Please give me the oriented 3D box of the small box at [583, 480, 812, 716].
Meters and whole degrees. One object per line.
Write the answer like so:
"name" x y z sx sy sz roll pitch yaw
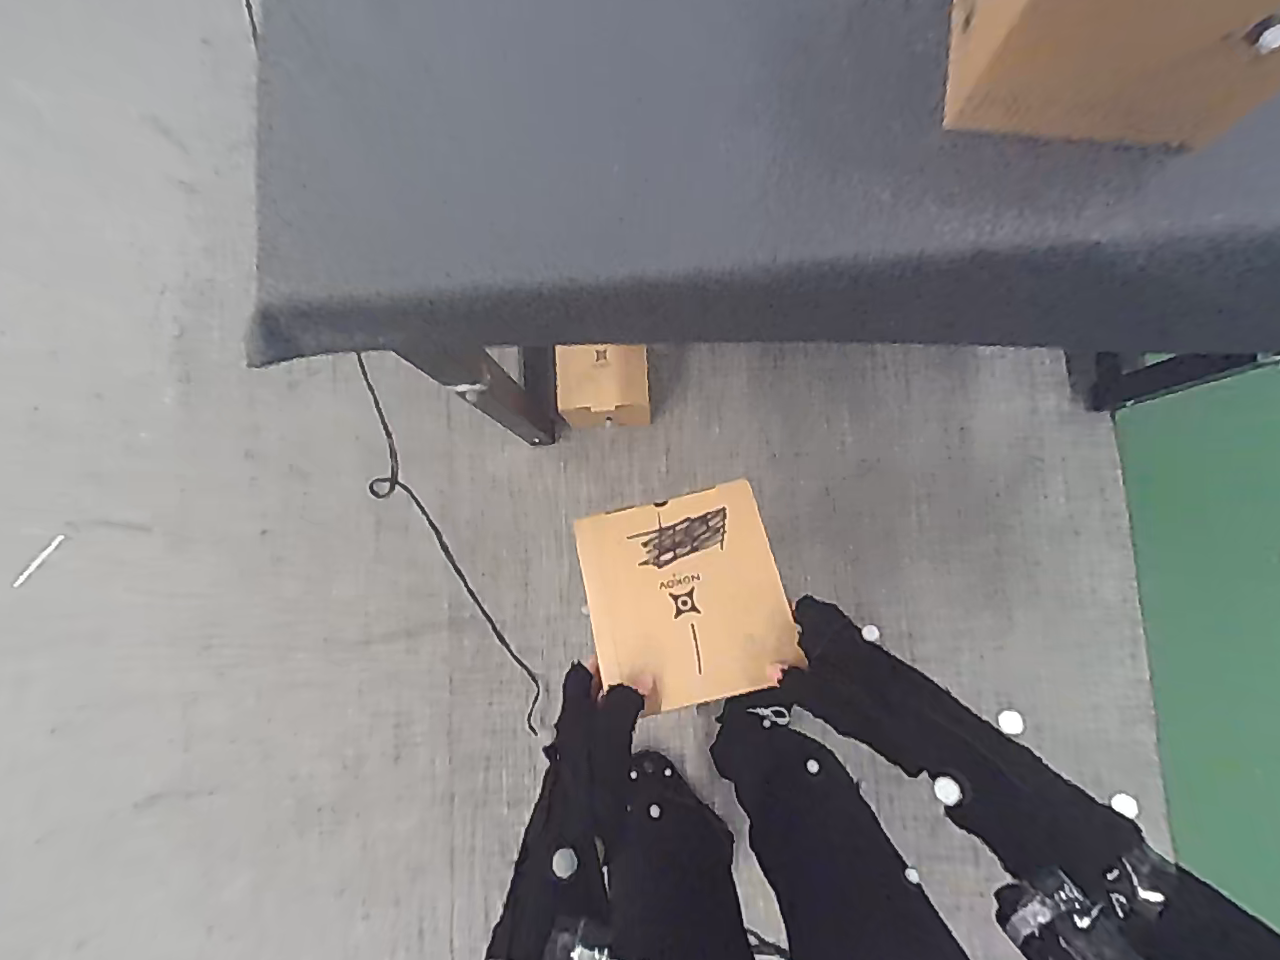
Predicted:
"small box" 0.049 0.124 0.538 0.168 0.176 0.179 -14 69 0
